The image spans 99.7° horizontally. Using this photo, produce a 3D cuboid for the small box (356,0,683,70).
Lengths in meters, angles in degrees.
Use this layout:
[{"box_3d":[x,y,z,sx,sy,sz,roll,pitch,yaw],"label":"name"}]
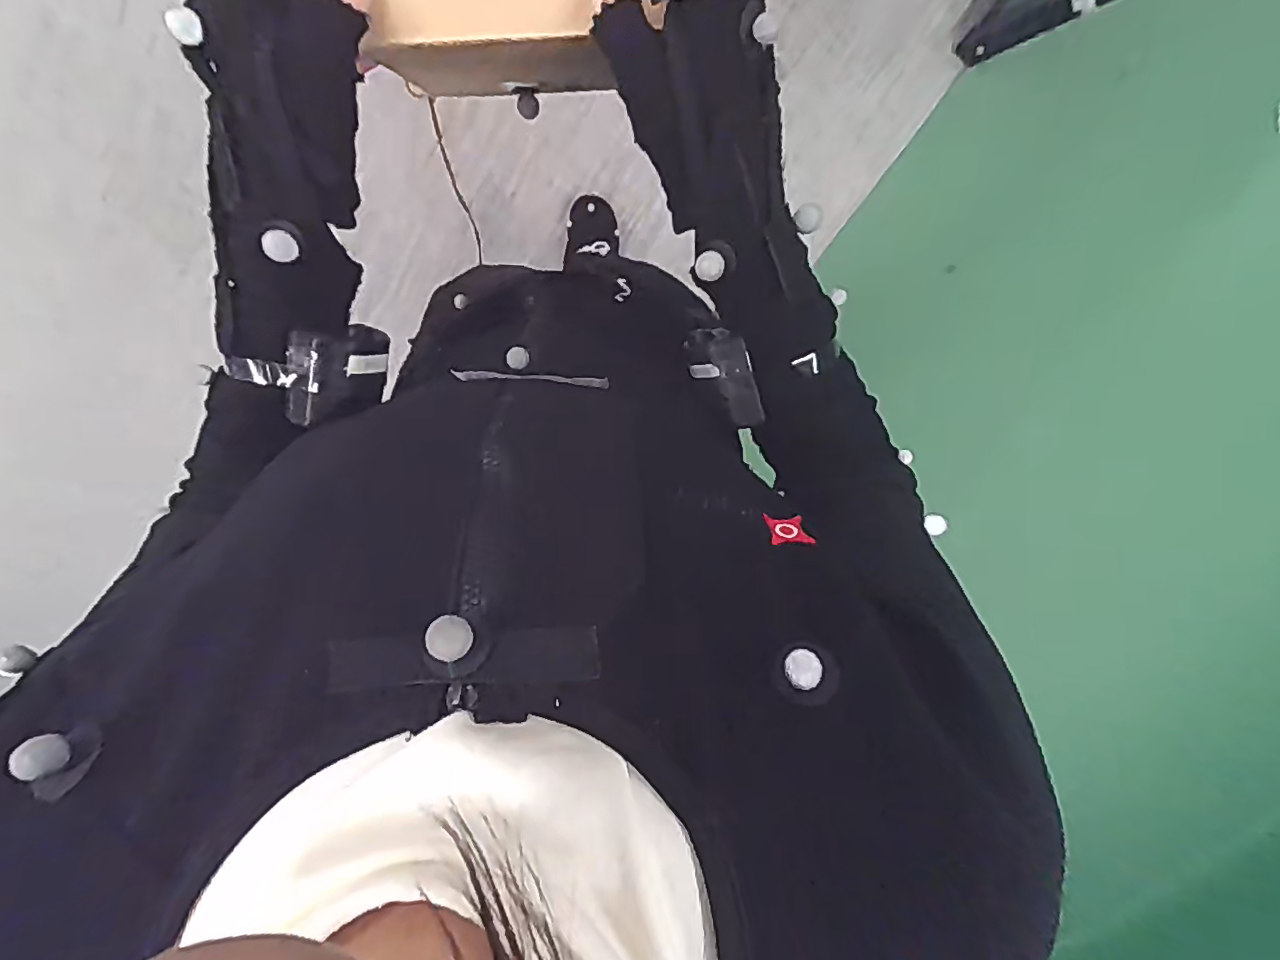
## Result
[{"box_3d":[-0.068,-0.345,0.289,0.168,0.176,0.179,-5,120,-1],"label":"small box"}]
